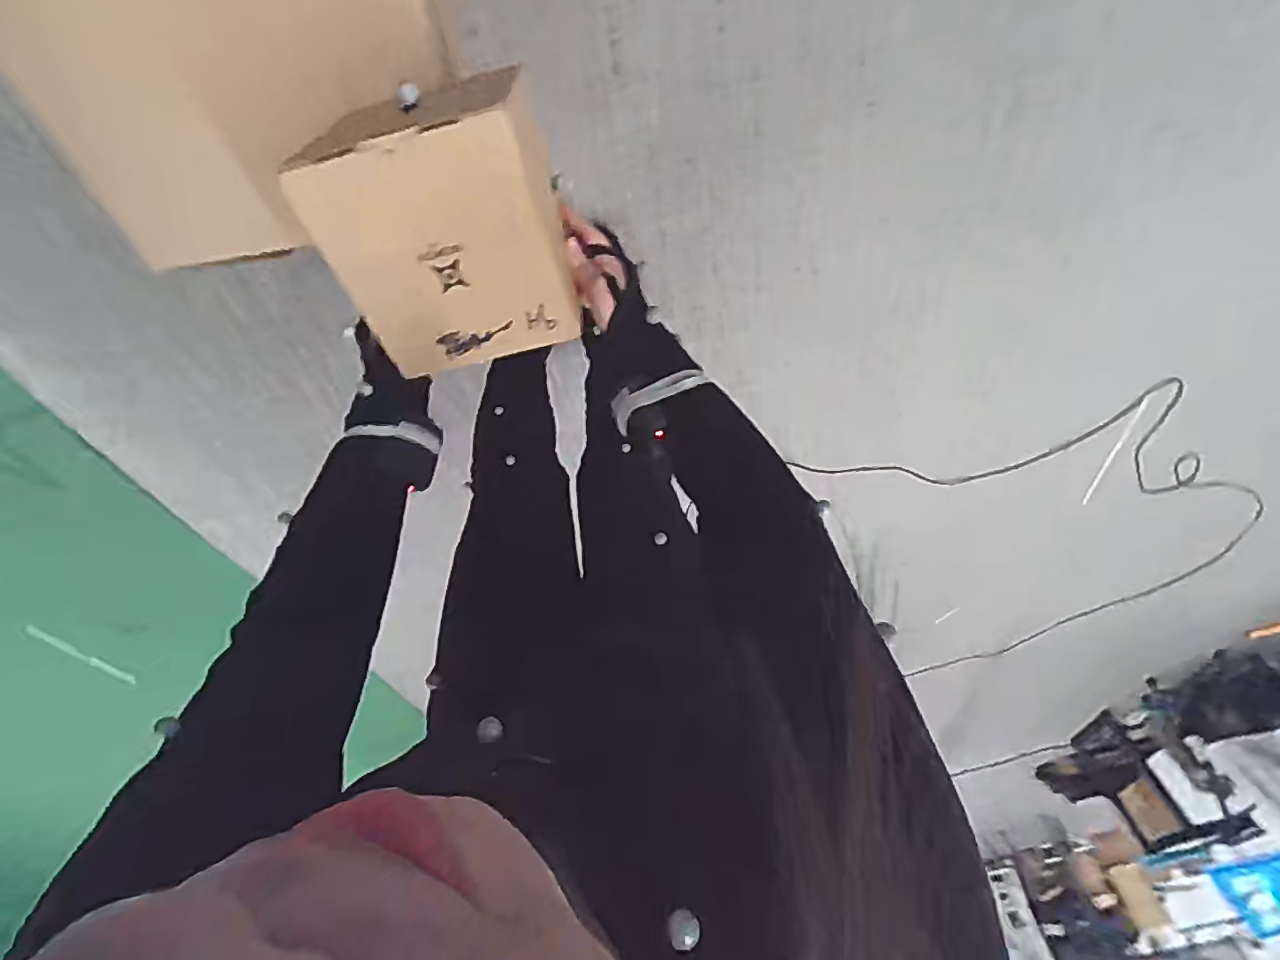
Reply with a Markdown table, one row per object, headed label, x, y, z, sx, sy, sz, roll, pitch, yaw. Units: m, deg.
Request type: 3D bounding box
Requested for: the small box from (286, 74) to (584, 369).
| label | x | y | z | sx | sy | sz | roll | pitch | yaw |
| --- | --- | --- | --- | --- | --- | --- | --- | --- | --- |
| small box | -0.152 | -0.229 | 0.472 | 0.168 | 0.176 | 0.179 | -11 | 134 | 6 |
